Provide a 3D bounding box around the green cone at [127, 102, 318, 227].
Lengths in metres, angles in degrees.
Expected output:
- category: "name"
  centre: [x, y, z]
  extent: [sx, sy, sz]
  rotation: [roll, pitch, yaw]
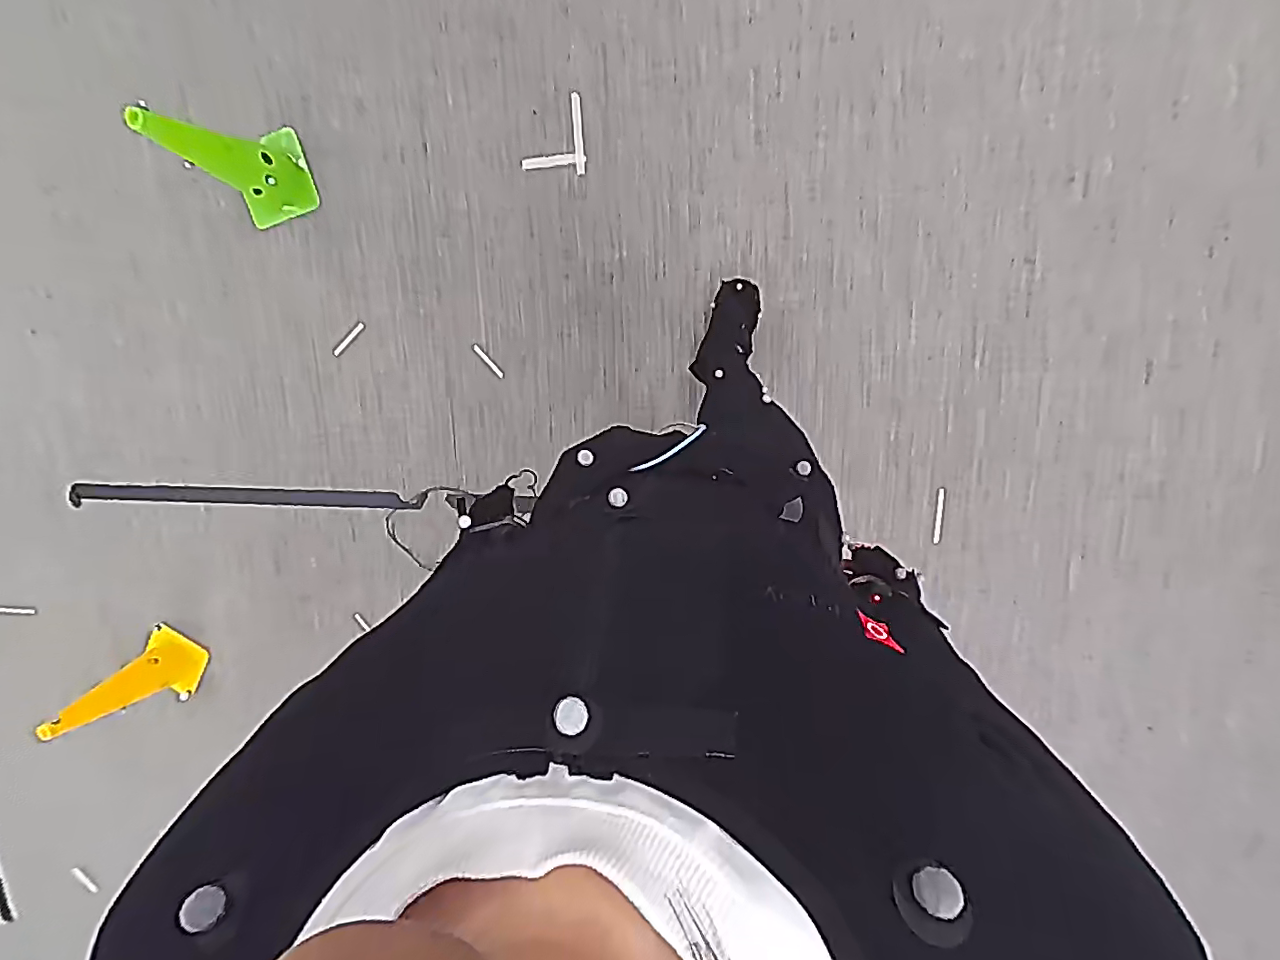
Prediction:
- category: "green cone"
  centre: [-0.962, -0.741, 1.222]
  extent: [0.202, 0.368, 0.200]
  rotation: [-15, 100, 9]
